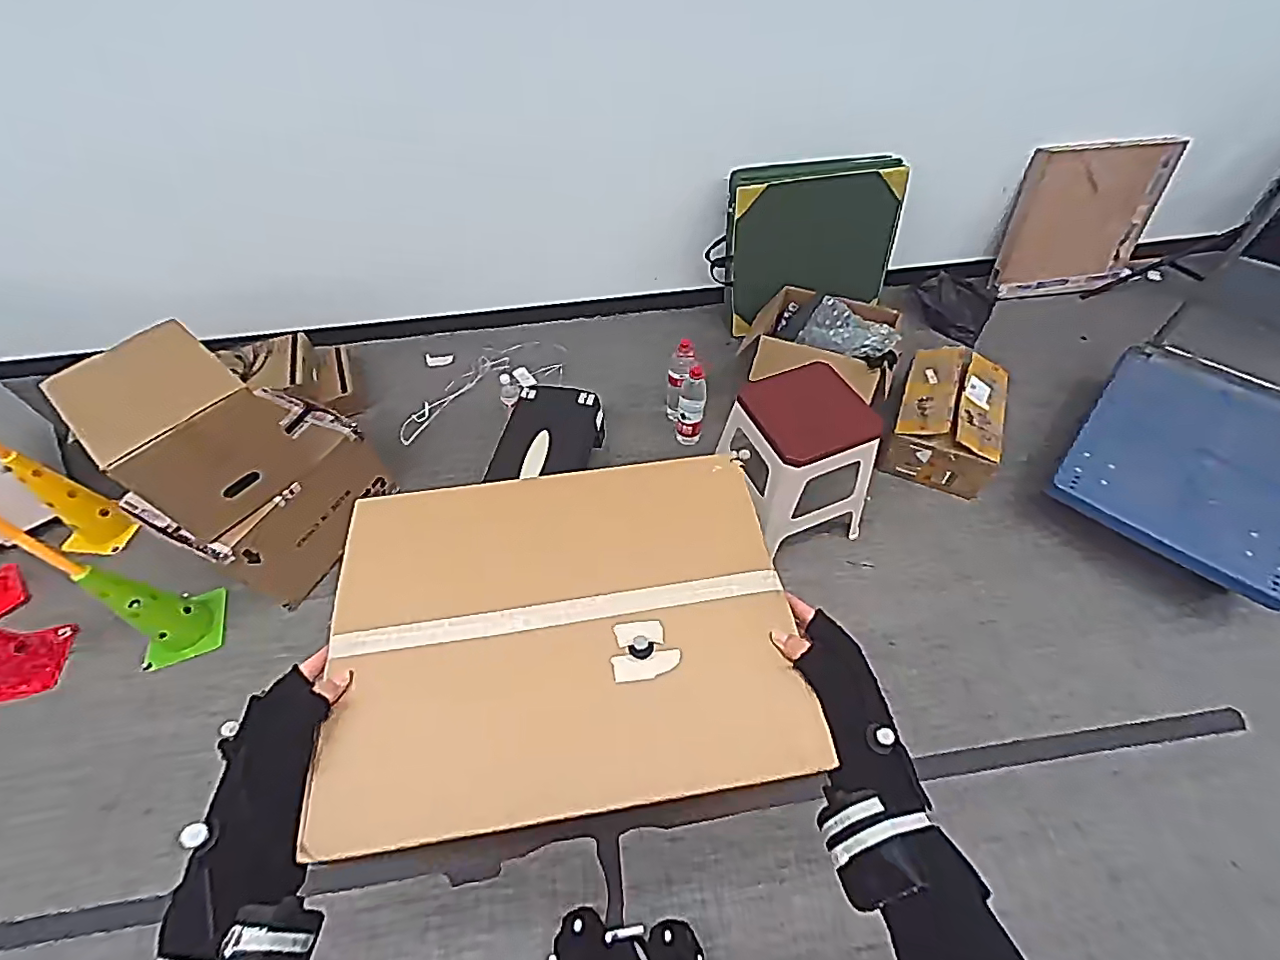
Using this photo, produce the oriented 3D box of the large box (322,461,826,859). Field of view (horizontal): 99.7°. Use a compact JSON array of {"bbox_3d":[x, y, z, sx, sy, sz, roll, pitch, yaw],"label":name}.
[{"bbox_3d":[-0.067,0.213,0.623,0.408,0.320,0.320,-7,55,-5],"label":"large box"}]
